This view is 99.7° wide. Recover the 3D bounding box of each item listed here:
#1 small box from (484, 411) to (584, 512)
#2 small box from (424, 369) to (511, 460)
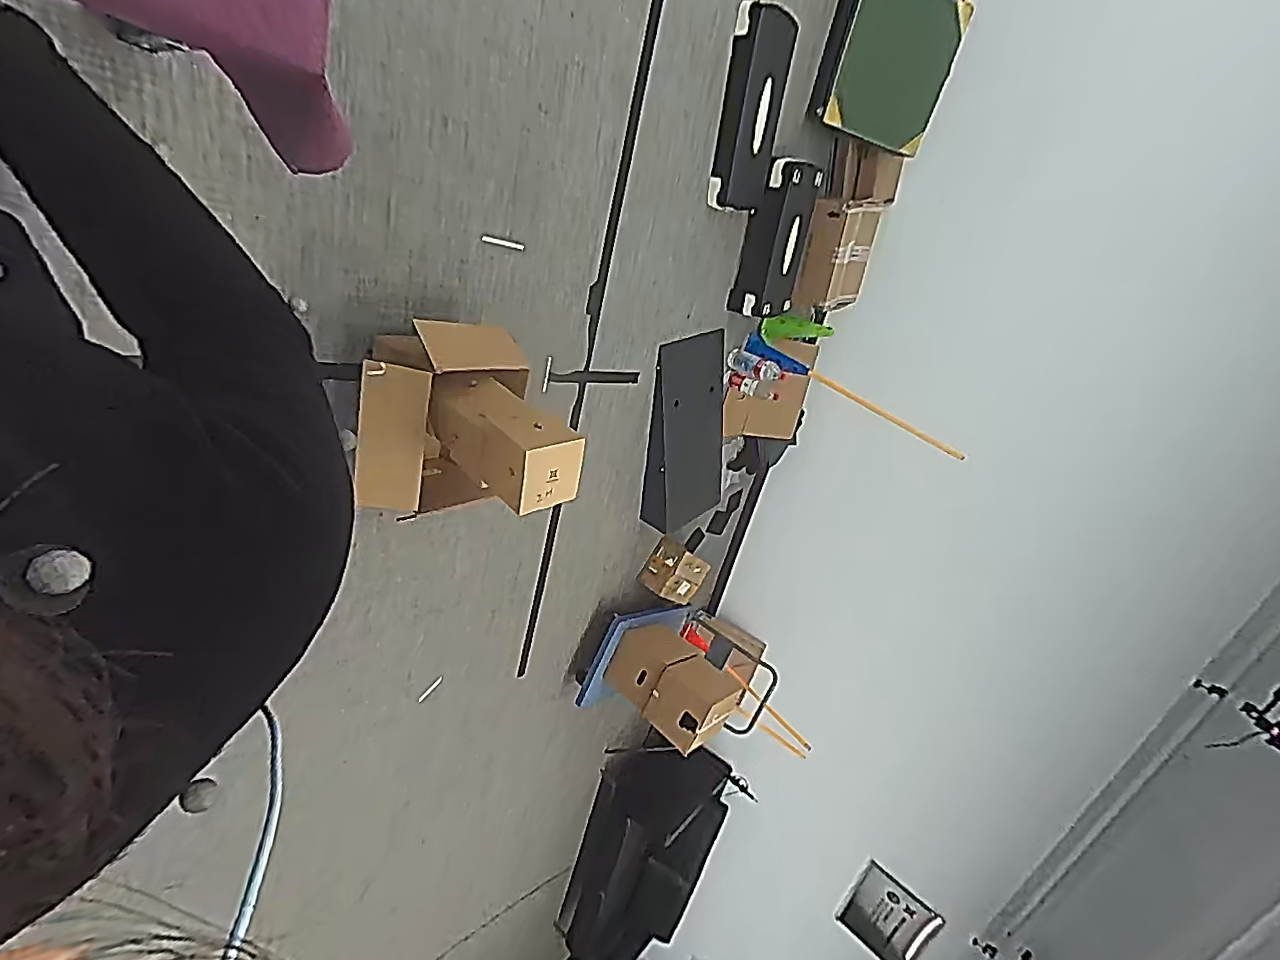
[{"bbox_3d":[-0.258,-0.054,1.292,0.168,0.176,0.179,-17,132,-41],"label":"small box"},{"bbox_3d":[-0.475,-0.191,1.501,0.168,0.176,0.179,-31,141,-32],"label":"small box"}]
